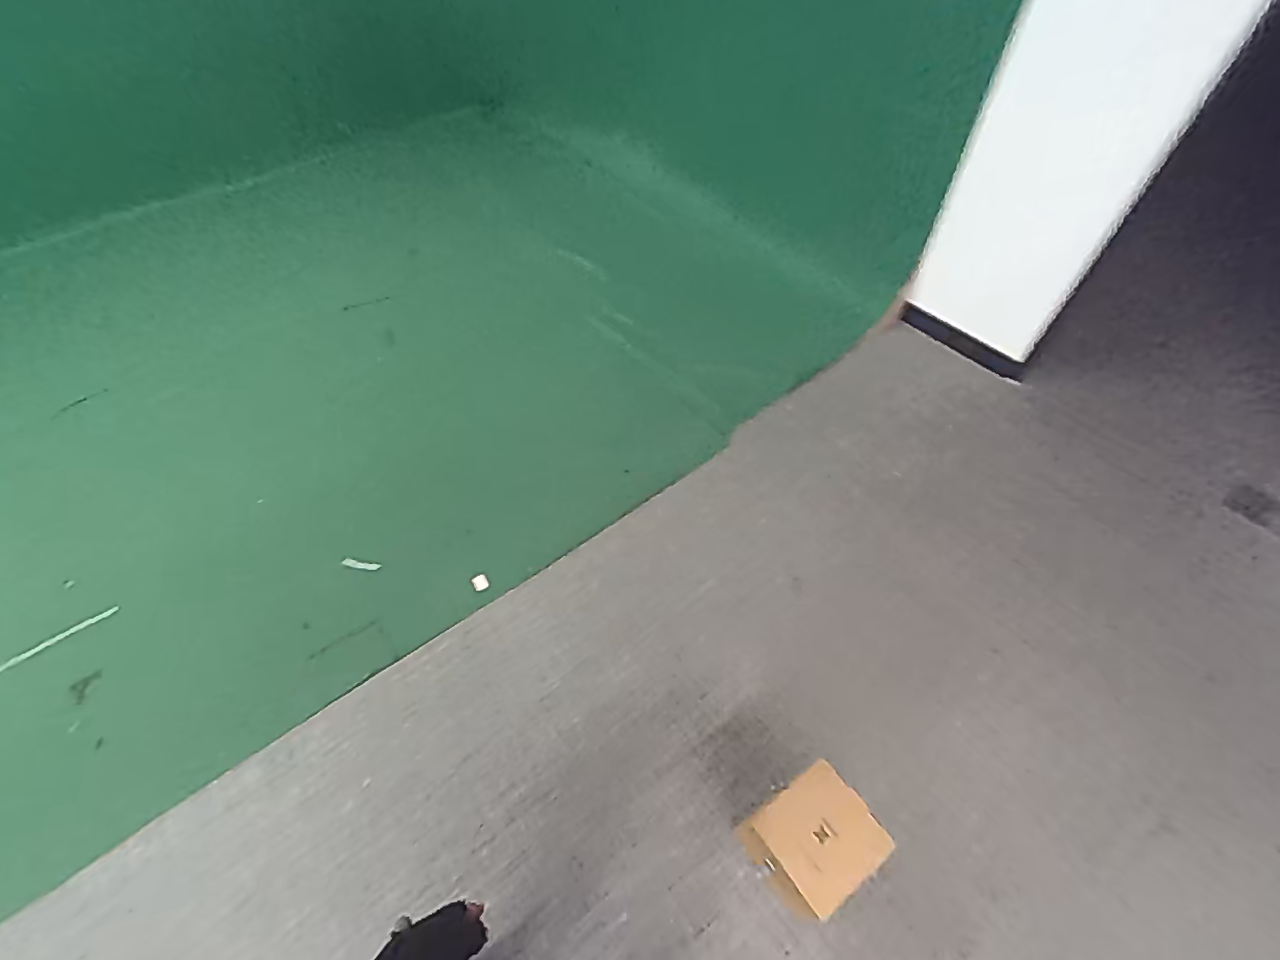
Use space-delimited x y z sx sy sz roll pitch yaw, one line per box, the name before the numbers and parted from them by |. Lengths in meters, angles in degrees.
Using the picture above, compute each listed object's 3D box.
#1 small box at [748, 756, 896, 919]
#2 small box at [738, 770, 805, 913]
small box | 0.310 0.629 0.961 0.179 0.176 0.168 -32 57 -16
small box | 0.317 0.723 1.093 0.168 0.176 0.179 -29 58 -16
